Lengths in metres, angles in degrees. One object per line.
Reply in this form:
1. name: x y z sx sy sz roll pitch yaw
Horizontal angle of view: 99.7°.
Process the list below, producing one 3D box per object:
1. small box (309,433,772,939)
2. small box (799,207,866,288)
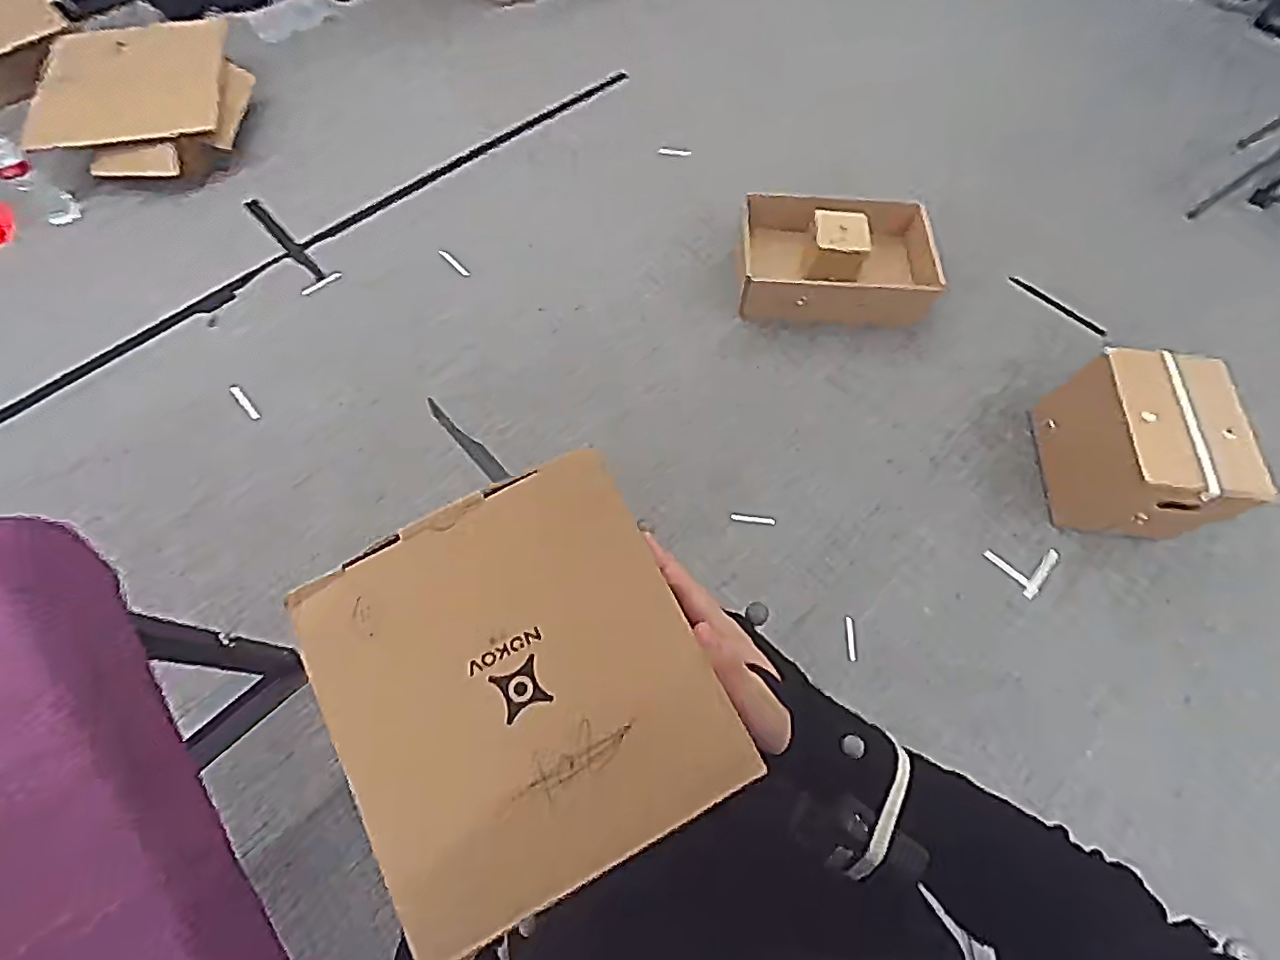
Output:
1. small box: -0.051 0.102 0.329 0.168 0.176 0.179 -27 79 -6
2. small box: 0.634 -0.773 1.801 0.168 0.176 0.179 5 65 1
